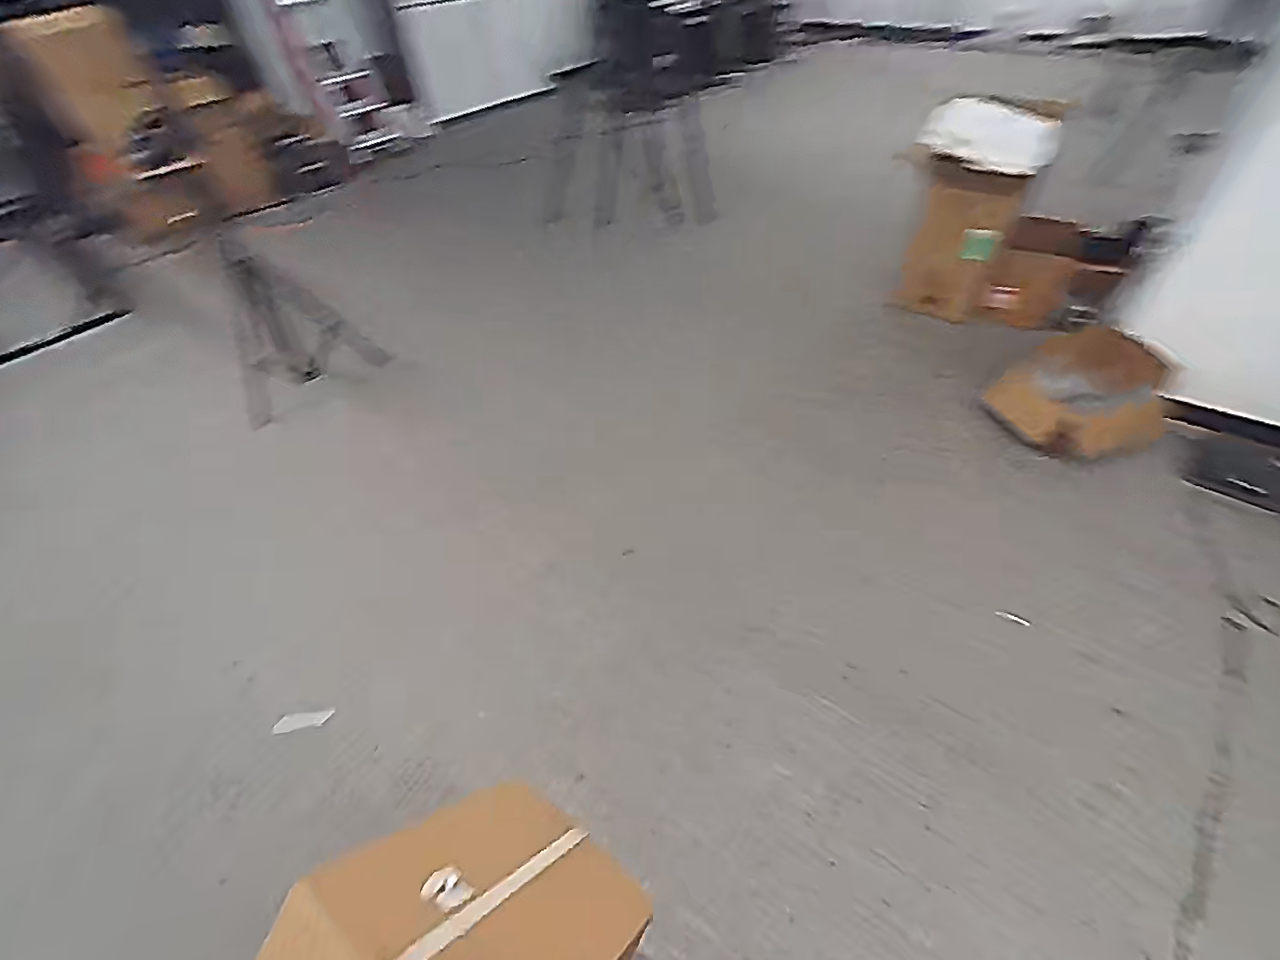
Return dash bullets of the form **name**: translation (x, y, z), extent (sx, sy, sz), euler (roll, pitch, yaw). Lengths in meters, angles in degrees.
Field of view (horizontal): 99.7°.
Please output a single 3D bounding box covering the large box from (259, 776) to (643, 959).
- **large box**: translation (-0.261, 0.693, 0.728), extent (0.320, 0.408, 0.320), euler (27, 94, 28)
